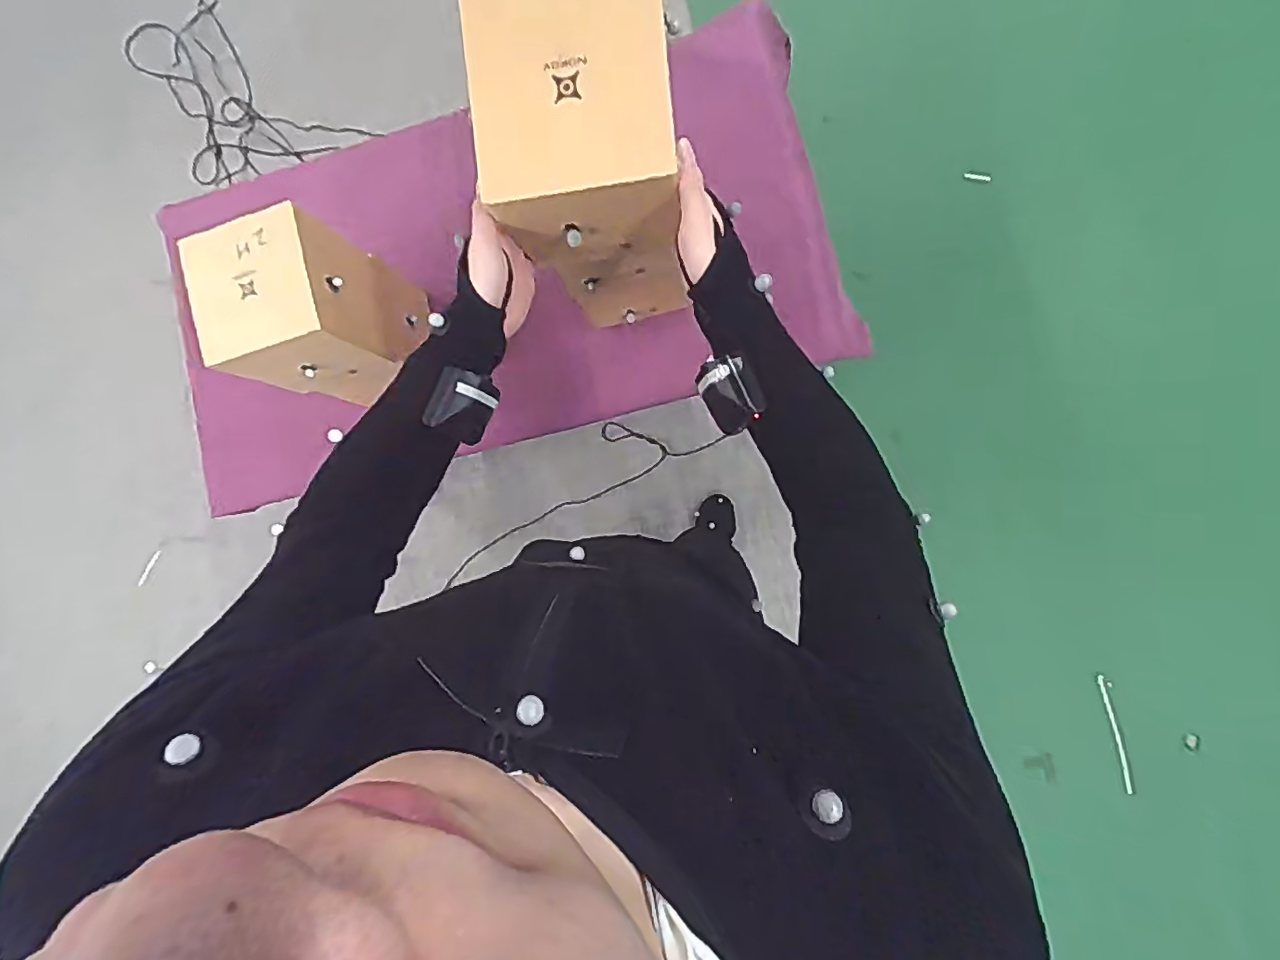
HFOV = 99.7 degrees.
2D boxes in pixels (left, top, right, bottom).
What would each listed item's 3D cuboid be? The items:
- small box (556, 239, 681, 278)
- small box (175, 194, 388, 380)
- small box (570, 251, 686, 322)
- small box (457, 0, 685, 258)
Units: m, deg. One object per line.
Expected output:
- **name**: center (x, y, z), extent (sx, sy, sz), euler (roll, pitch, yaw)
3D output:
- **small box**: center (-0.047, -0.384, 0.702), extent (0.168, 0.176, 0.179), euler (-12, 84, 8)
- **small box**: center (-0.480, -0.248, 0.750), extent (0.168, 0.176, 0.179), euler (-15, 86, 6)
- **small box**: center (-0.024, -0.378, 0.864), extent (0.168, 0.176, 0.179), euler (-12, 86, 8)
- **small box**: center (-0.049, -0.323, 0.505), extent (0.168, 0.176, 0.179), euler (-6, 93, 7)
